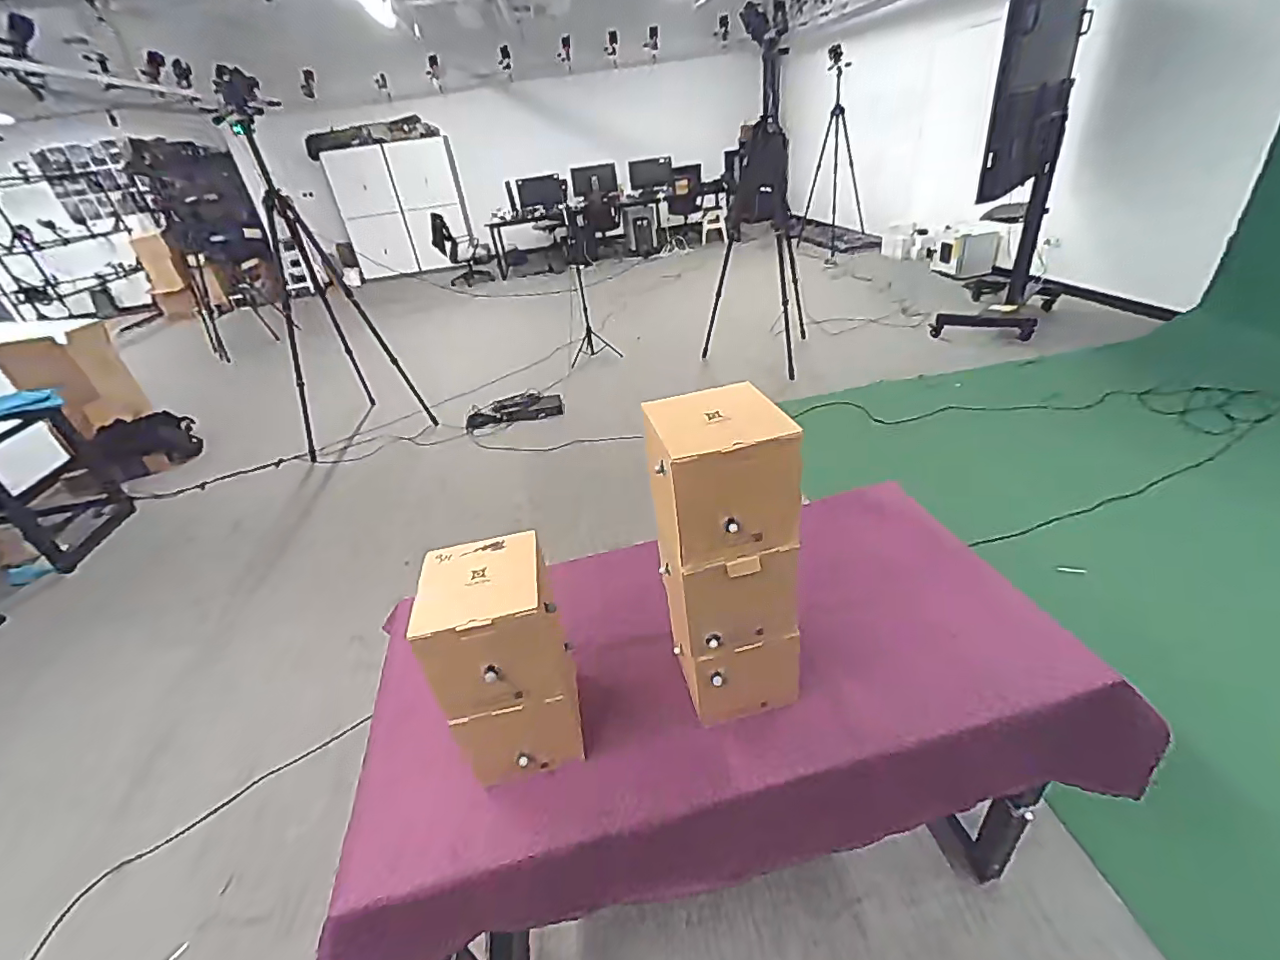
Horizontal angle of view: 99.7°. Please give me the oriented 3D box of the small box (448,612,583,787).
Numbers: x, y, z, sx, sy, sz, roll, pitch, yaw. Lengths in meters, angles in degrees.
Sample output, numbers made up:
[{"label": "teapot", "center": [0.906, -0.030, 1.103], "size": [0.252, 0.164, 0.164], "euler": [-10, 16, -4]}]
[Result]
[{"label": "small box", "center": [-0.191, 0.345, 0.863], "size": [0.168, 0.176, 0.179], "euler": [-12, 32, -5]}]

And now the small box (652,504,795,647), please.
[{"label": "small box", "center": [0.124, 0.129, 0.819], "size": [0.168, 0.176, 0.179], "euler": [-13, 31, -6]}]

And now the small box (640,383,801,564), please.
[{"label": "small box", "center": [0.104, -0.013, 0.742], "size": [0.168, 0.176, 0.179], "euler": [-13, 32, -7]}]

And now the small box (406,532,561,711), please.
[{"label": "small box", "center": [-0.213, 0.205, 0.779], "size": [0.168, 0.176, 0.179], "euler": [-11, 33, -6]}]
